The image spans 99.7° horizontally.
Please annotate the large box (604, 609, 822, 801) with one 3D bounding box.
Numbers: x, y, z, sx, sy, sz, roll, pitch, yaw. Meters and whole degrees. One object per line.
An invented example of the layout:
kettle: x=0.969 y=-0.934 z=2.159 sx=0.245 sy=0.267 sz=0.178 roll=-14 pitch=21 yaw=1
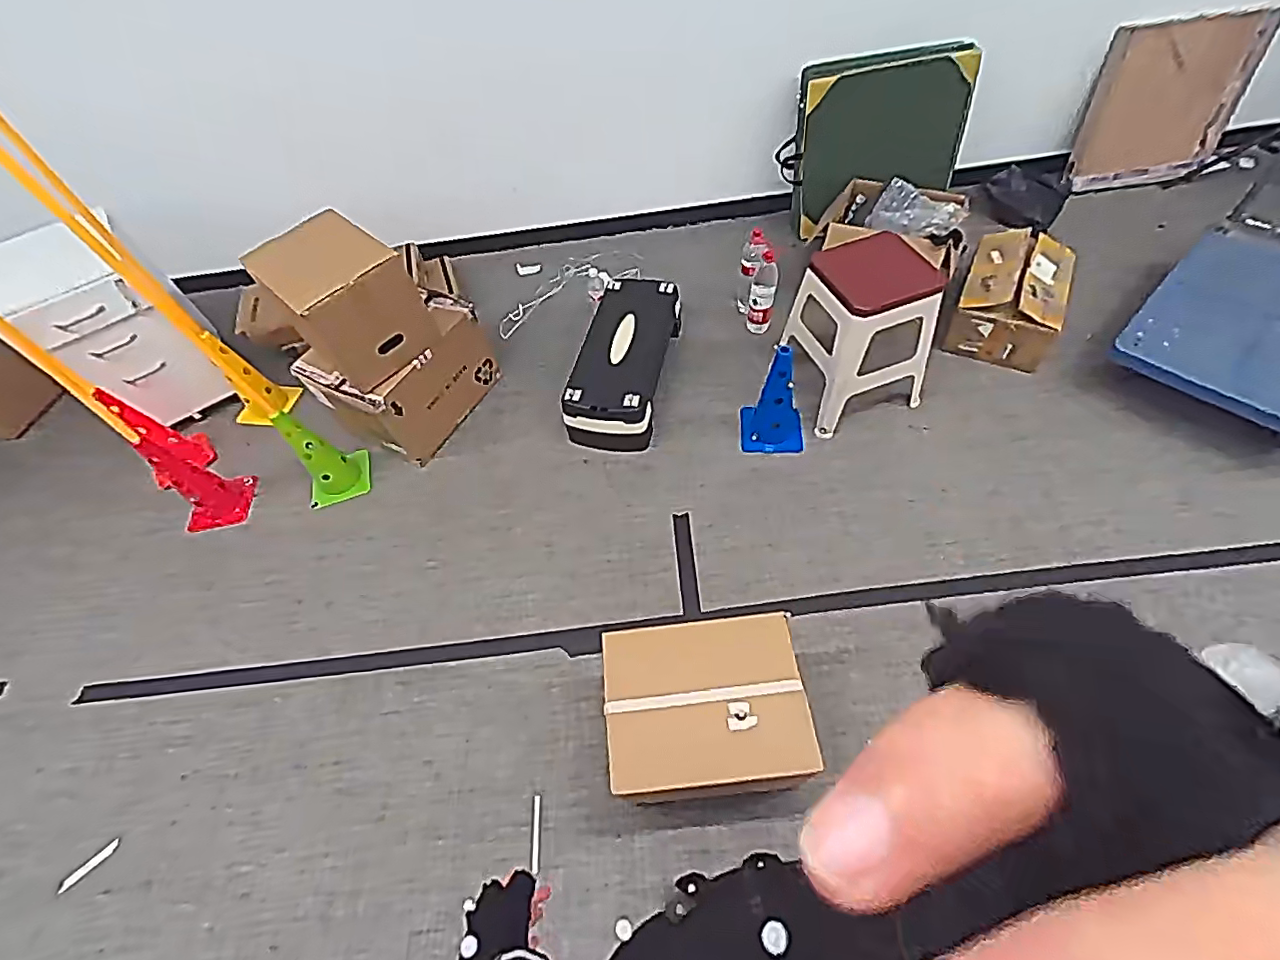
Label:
large box: x=0.142 y=0.517 z=1.224 sx=0.408 sy=0.320 sz=0.320 roll=-7 pitch=56 yaw=0
